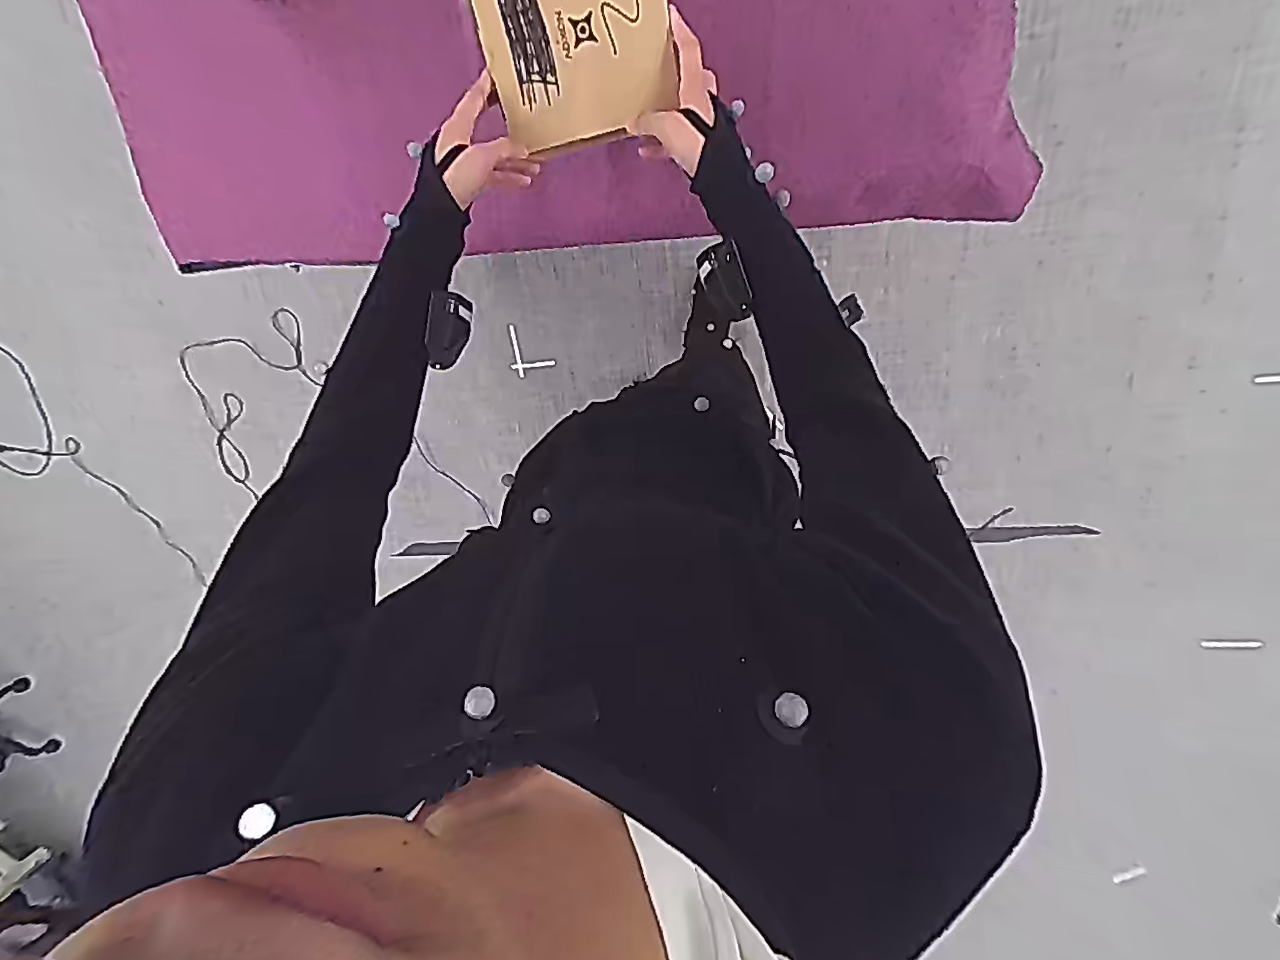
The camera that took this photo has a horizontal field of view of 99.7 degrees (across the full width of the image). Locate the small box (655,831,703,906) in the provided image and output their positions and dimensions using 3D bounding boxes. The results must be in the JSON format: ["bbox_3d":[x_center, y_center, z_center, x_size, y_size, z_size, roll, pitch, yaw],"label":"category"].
[{"bbox_3d":[0.156,1.520,2.119,0.168,0.176,0.179,-4,107,10],"label":"small box"}]
